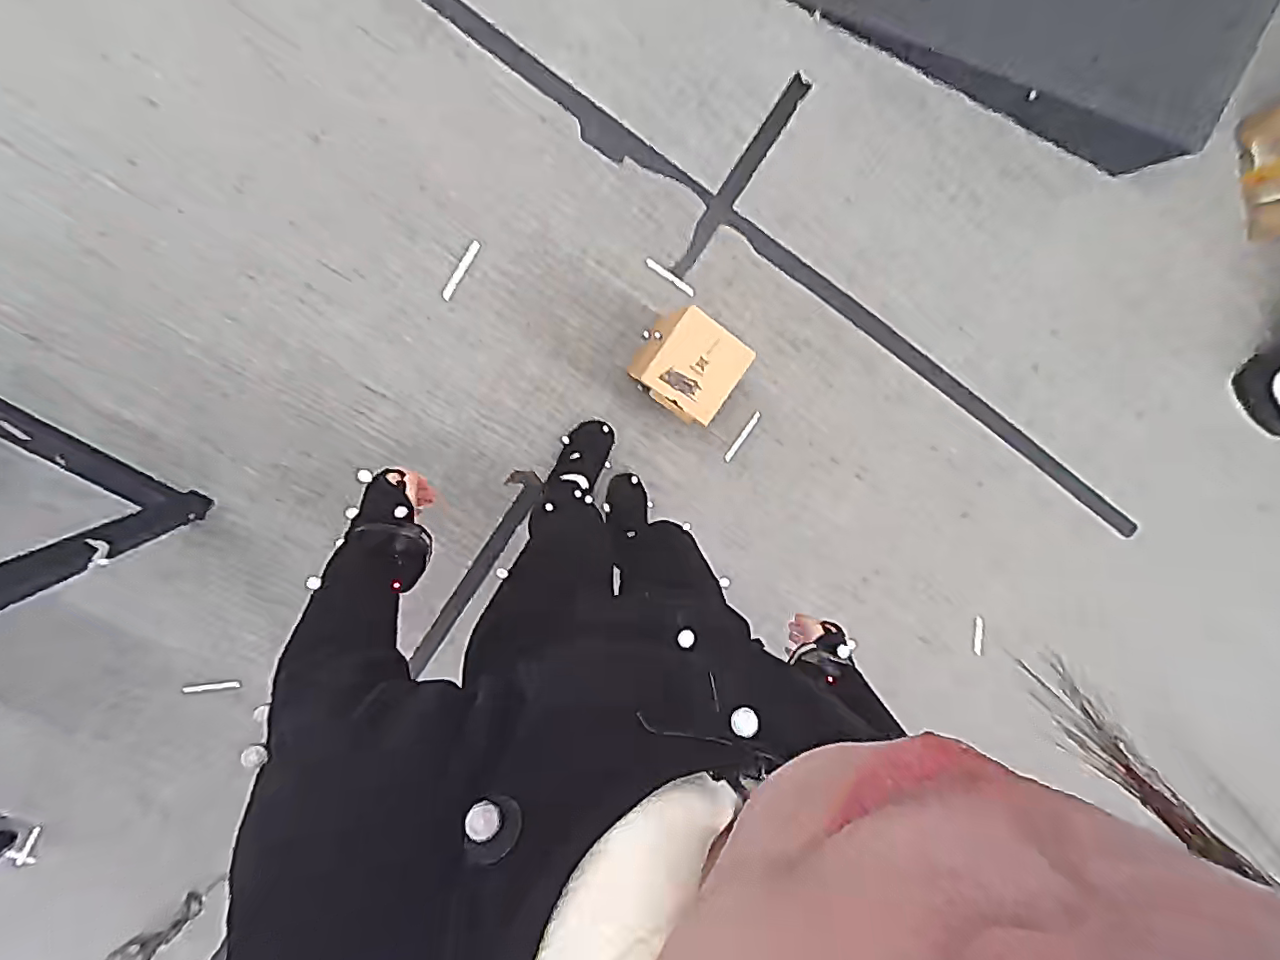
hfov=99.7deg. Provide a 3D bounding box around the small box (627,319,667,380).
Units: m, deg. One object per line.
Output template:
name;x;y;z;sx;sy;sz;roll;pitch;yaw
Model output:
small box;0.087;-0.270;1.280;0.179;0.176;0.168;31;98;-13

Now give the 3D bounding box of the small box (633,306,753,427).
small box;0.098;-0.233;1.120;0.168;0.176;0.179;34;96;-15
